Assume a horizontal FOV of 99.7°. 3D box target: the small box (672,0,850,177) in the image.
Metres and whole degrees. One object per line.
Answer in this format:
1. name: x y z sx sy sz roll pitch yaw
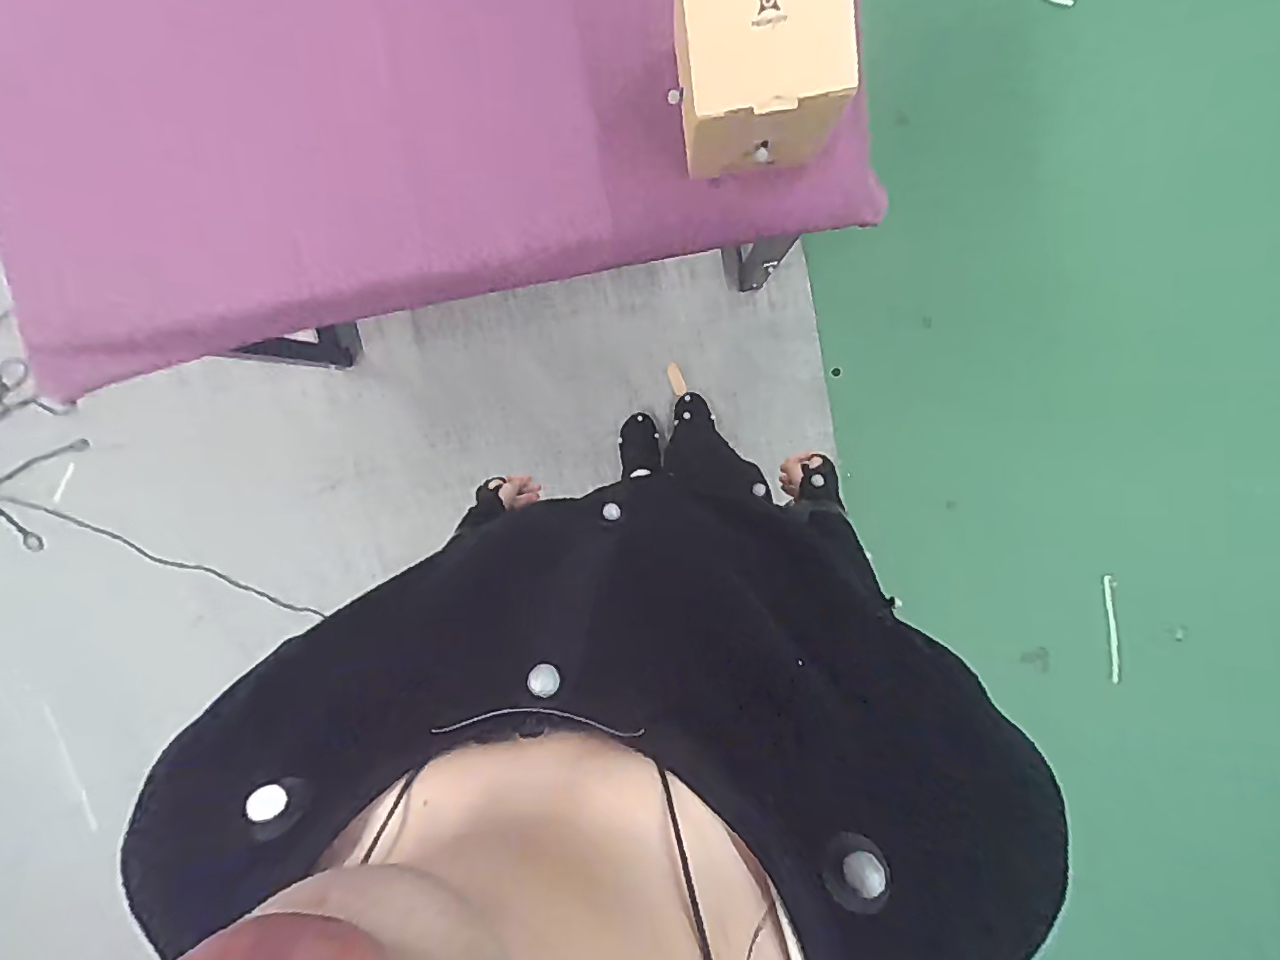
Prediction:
1. small box: 0.127 -0.467 0.613 0.168 0.176 0.179 -7 99 5
